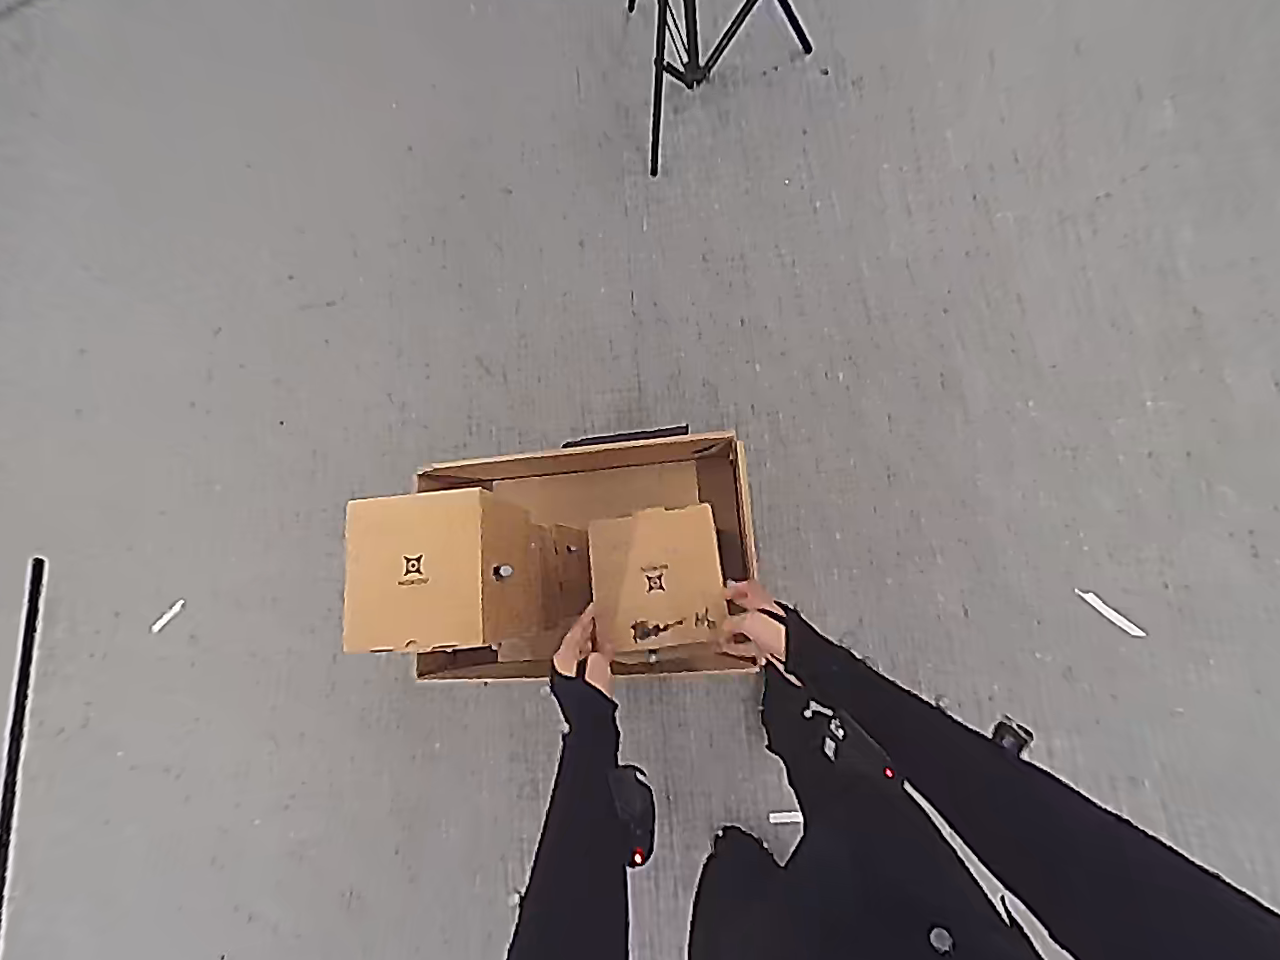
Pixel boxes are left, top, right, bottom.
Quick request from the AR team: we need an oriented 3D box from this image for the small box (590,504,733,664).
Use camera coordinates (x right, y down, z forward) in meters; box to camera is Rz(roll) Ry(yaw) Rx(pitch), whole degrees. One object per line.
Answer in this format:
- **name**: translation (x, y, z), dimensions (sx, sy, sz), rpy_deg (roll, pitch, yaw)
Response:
- **small box**: translation (0.033, 0.151, 0.752), dimensions (0.168, 0.176, 0.179), rpy_deg (-10, 67, 7)

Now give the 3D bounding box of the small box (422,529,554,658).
- **small box**: translation (-0.241, 0.167, 0.835), dimensions (0.168, 0.176, 0.179), rpy_deg (-9, 79, 6)

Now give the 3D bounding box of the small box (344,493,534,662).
- **small box**: translation (-0.238, 0.122, 0.676), dimensions (0.168, 0.176, 0.179), rpy_deg (-6, 79, 6)
